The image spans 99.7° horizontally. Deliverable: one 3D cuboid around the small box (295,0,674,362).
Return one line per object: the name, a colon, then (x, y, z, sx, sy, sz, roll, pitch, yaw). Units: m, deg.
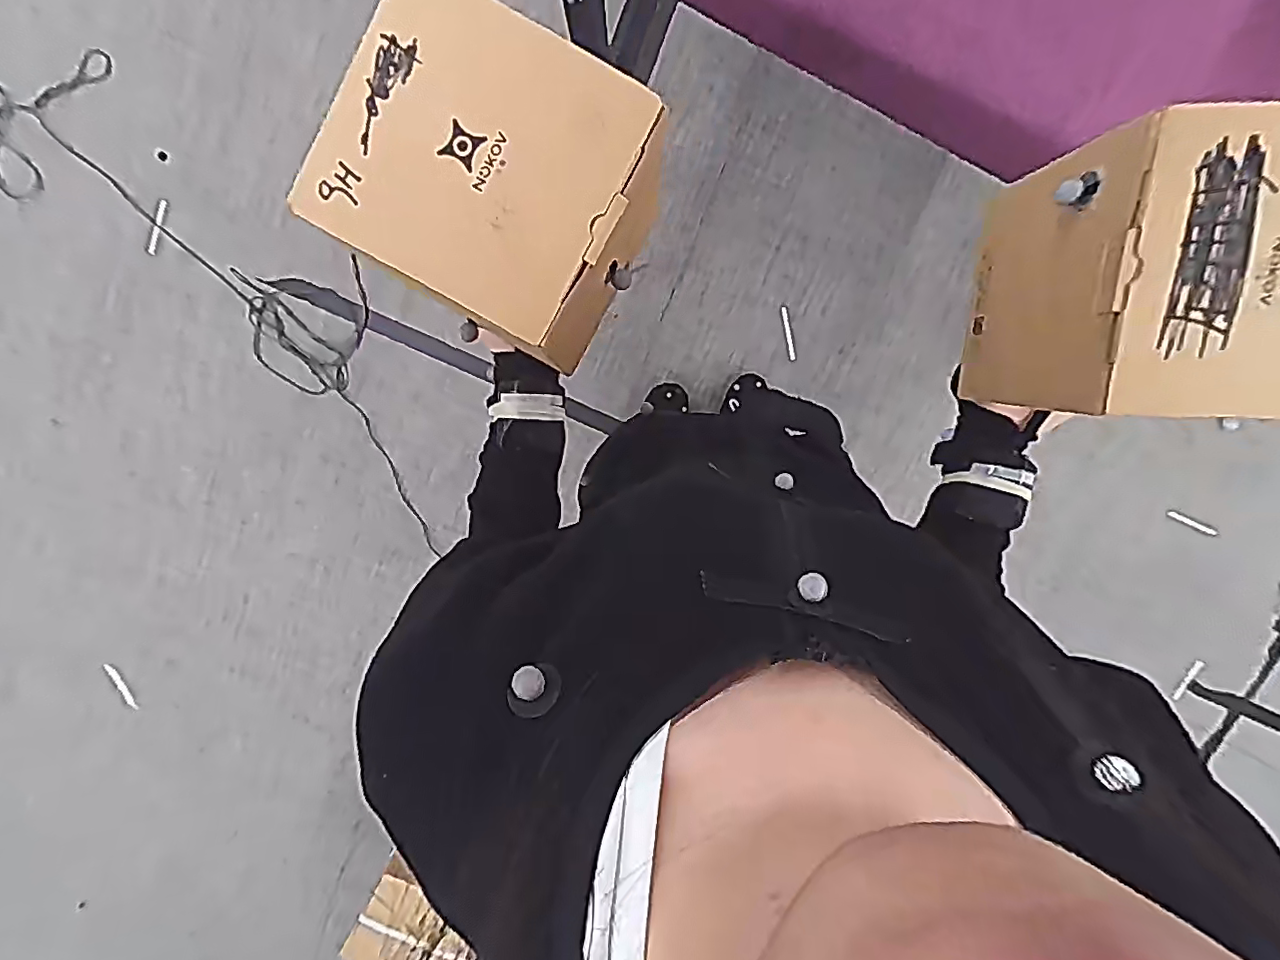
small box: (-0.094, -0.200, 0.401, 0.179, 0.176, 0.168, 28, 94, -4)
